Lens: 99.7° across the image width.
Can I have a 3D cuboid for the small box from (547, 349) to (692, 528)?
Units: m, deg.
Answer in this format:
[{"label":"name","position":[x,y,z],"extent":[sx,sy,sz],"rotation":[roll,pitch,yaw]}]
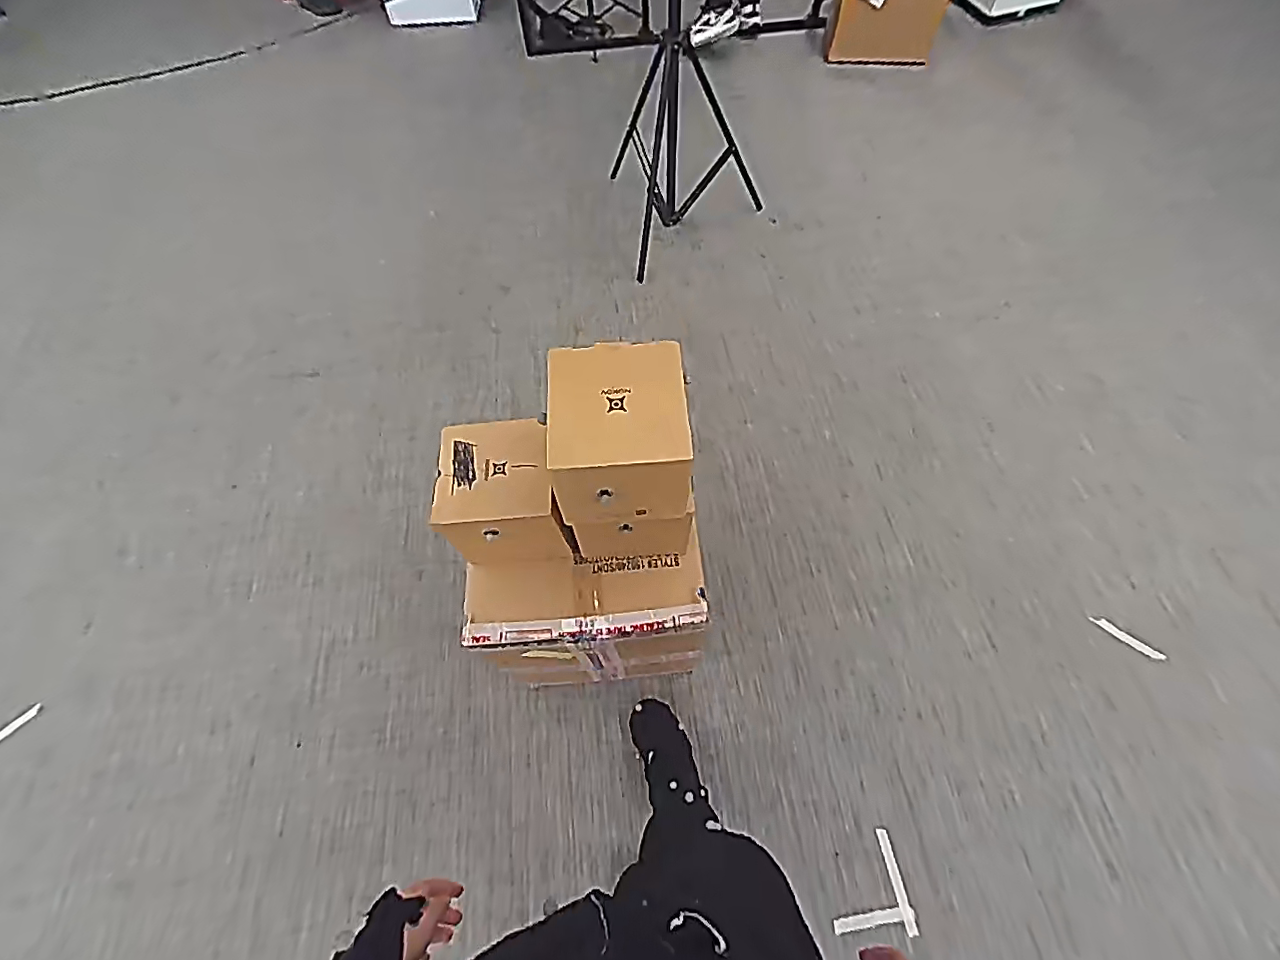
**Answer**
[{"label":"small box","position":[-0.025,-0.045,0.706],"extent":[0.168,0.176,0.179],"rotation":[-5,62,-1]}]
